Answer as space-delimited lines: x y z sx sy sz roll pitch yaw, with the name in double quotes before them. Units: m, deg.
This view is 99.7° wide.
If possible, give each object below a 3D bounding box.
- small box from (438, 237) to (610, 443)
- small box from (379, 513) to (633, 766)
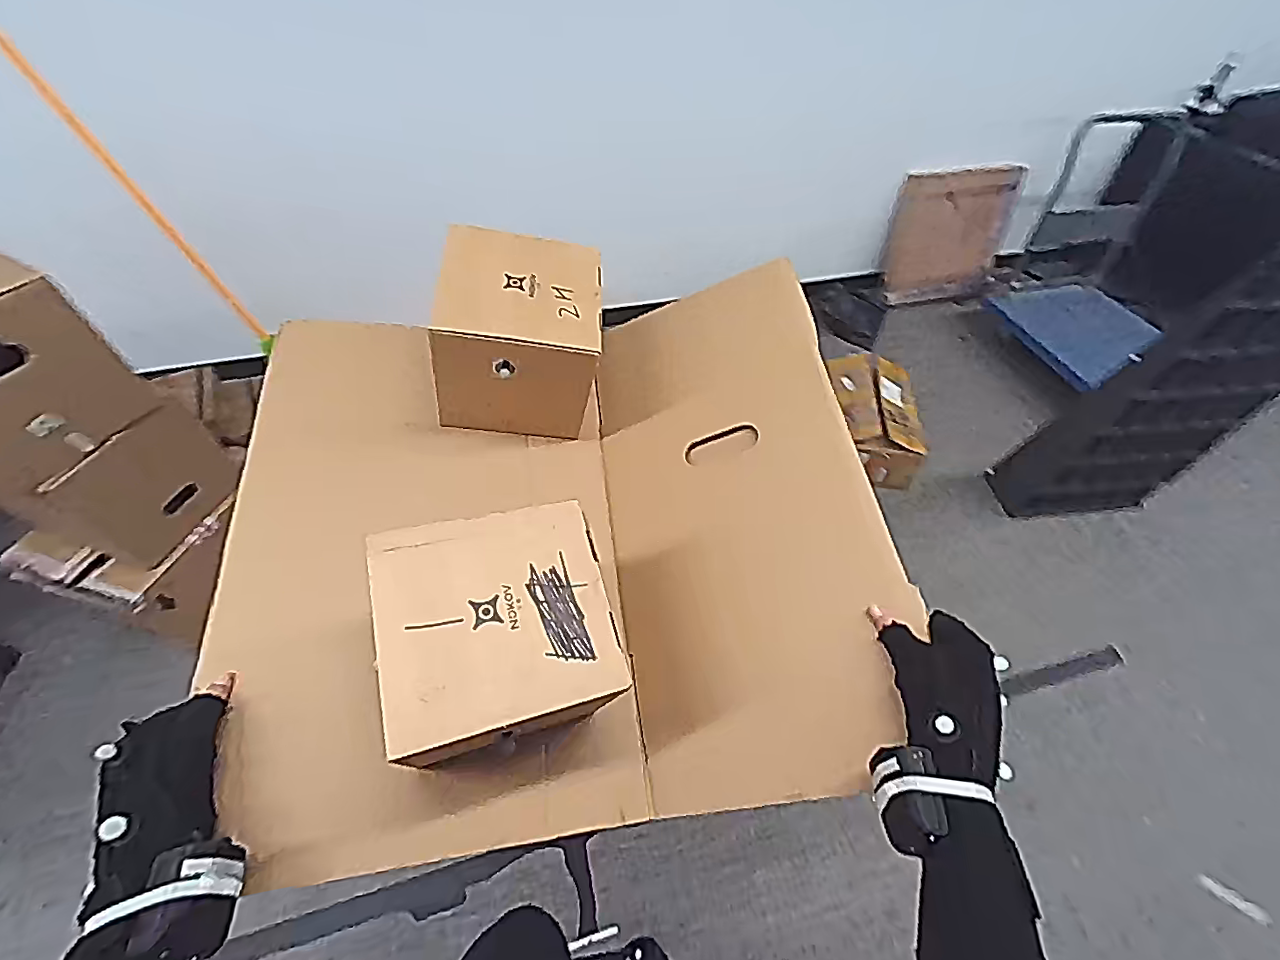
"small box" -0.138 -0.161 0.665 0.179 0.176 0.168 6 60 -13
"small box" -0.125 0.147 0.492 0.179 0.176 0.168 -8 64 -19
